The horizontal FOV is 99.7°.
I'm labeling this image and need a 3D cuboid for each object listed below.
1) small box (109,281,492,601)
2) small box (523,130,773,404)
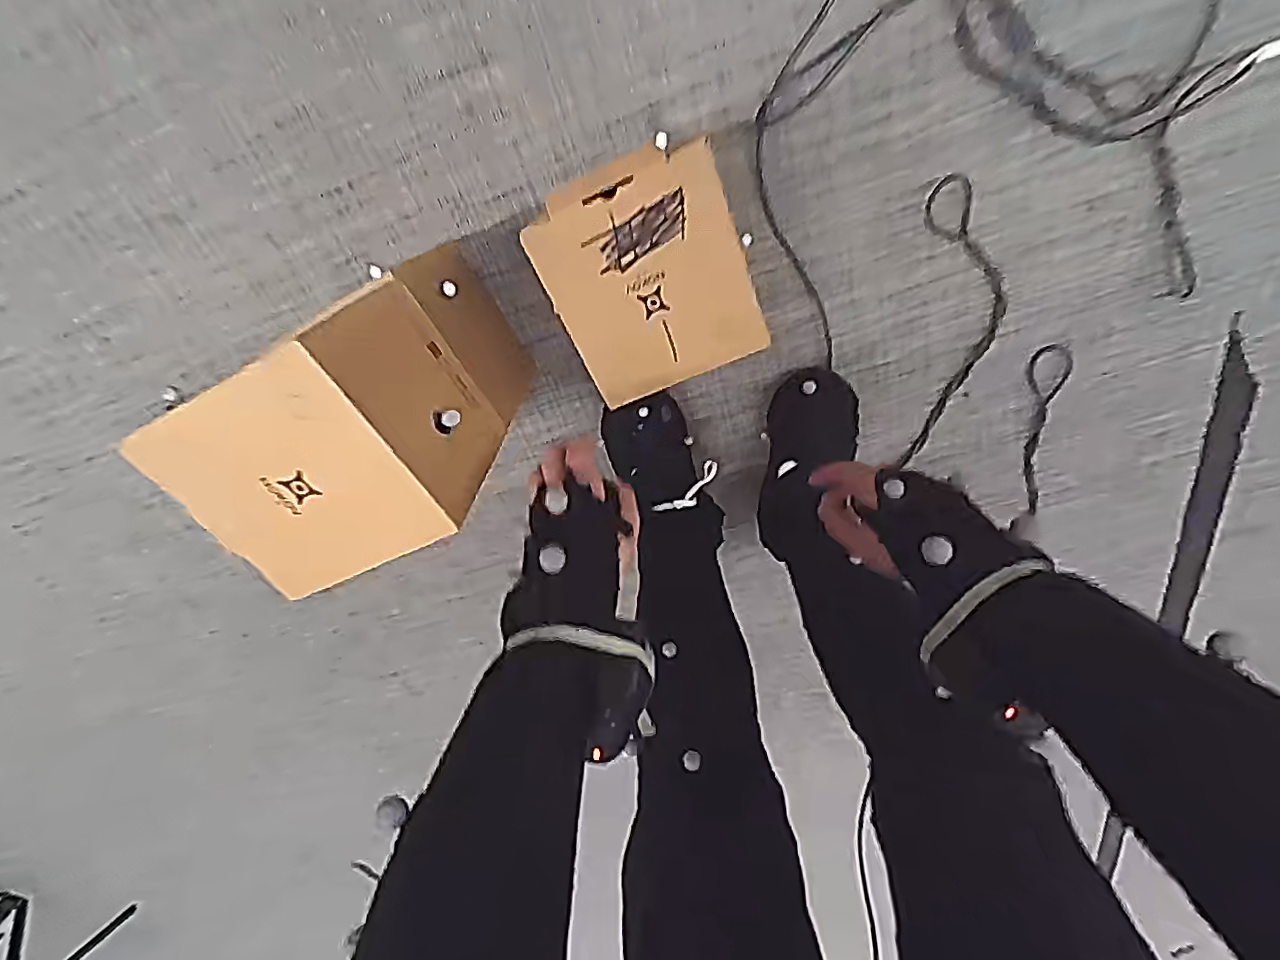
[{"bbox_3d":[-0.242,-0.038,0.443,0.179,0.176,0.168,-23,119,15],"label":"small box"},{"bbox_3d":[0.012,-0.206,0.521,0.168,0.176,0.179,-19,121,14],"label":"small box"}]
